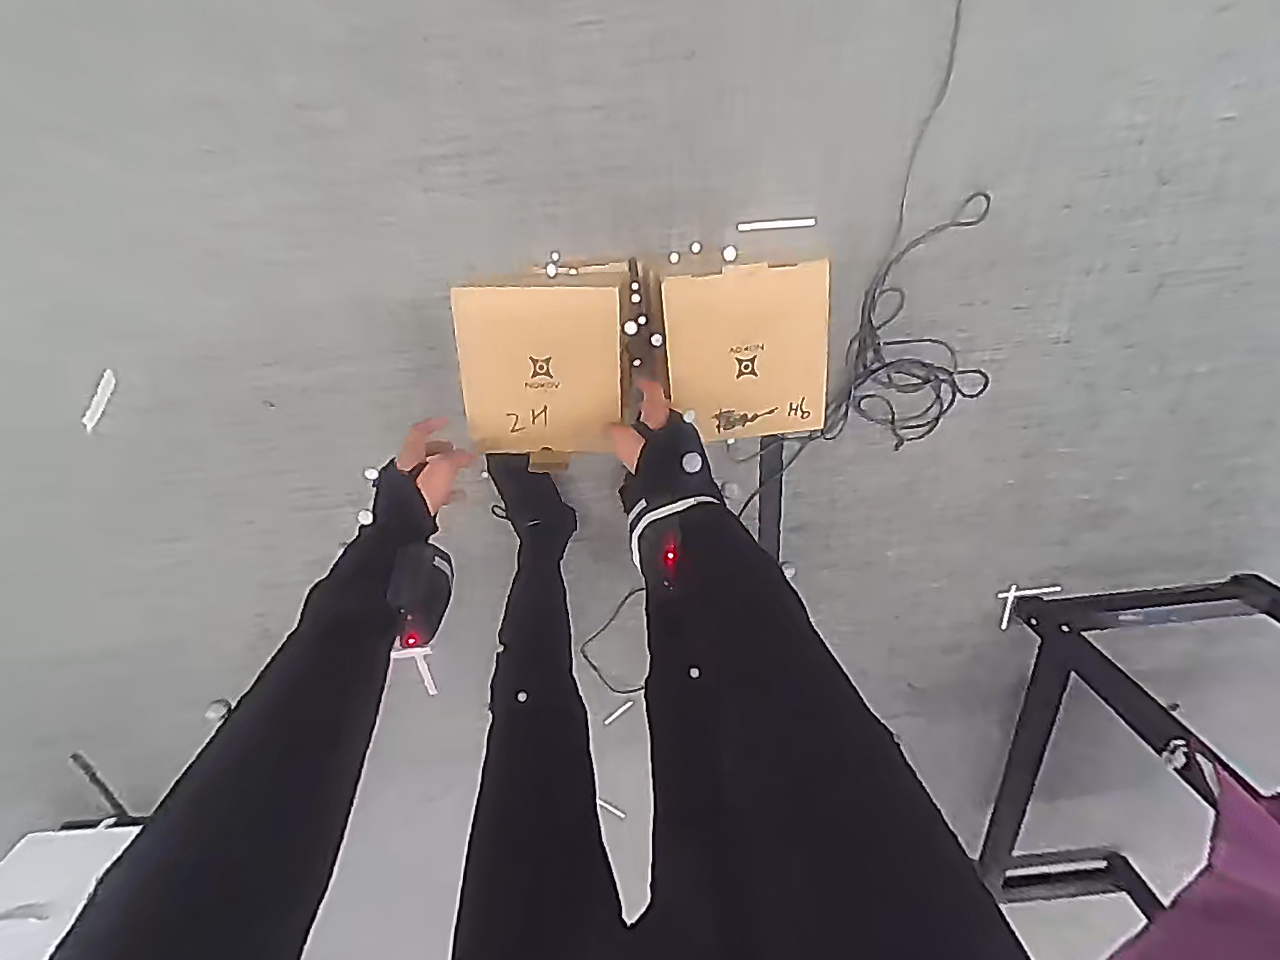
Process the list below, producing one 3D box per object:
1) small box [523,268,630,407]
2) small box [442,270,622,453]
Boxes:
[{"bbox_3d":[-0.103,-0.207,0.768,0.179,0.176,0.168,-1,116,1],"label":"small box"},{"bbox_3d":[-0.107,-0.142,0.616,0.168,0.176,0.179,0,116,0],"label":"small box"}]
